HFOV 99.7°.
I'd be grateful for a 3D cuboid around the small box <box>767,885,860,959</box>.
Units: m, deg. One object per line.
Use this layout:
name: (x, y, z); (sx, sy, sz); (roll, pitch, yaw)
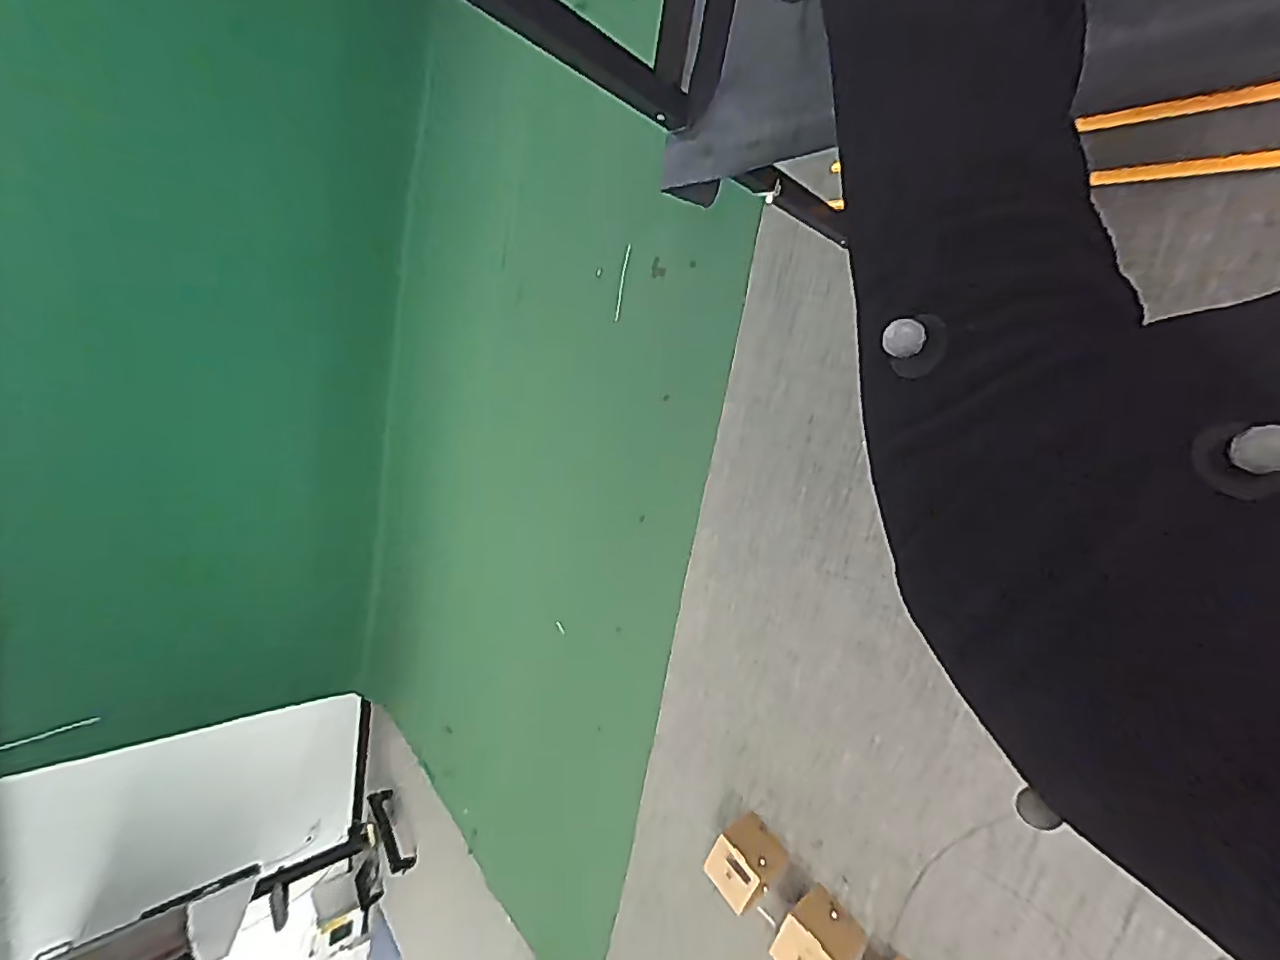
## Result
small box: (0.499, 1.325, 1.548); (0.168, 0.176, 0.179); (32, 111, 41)
